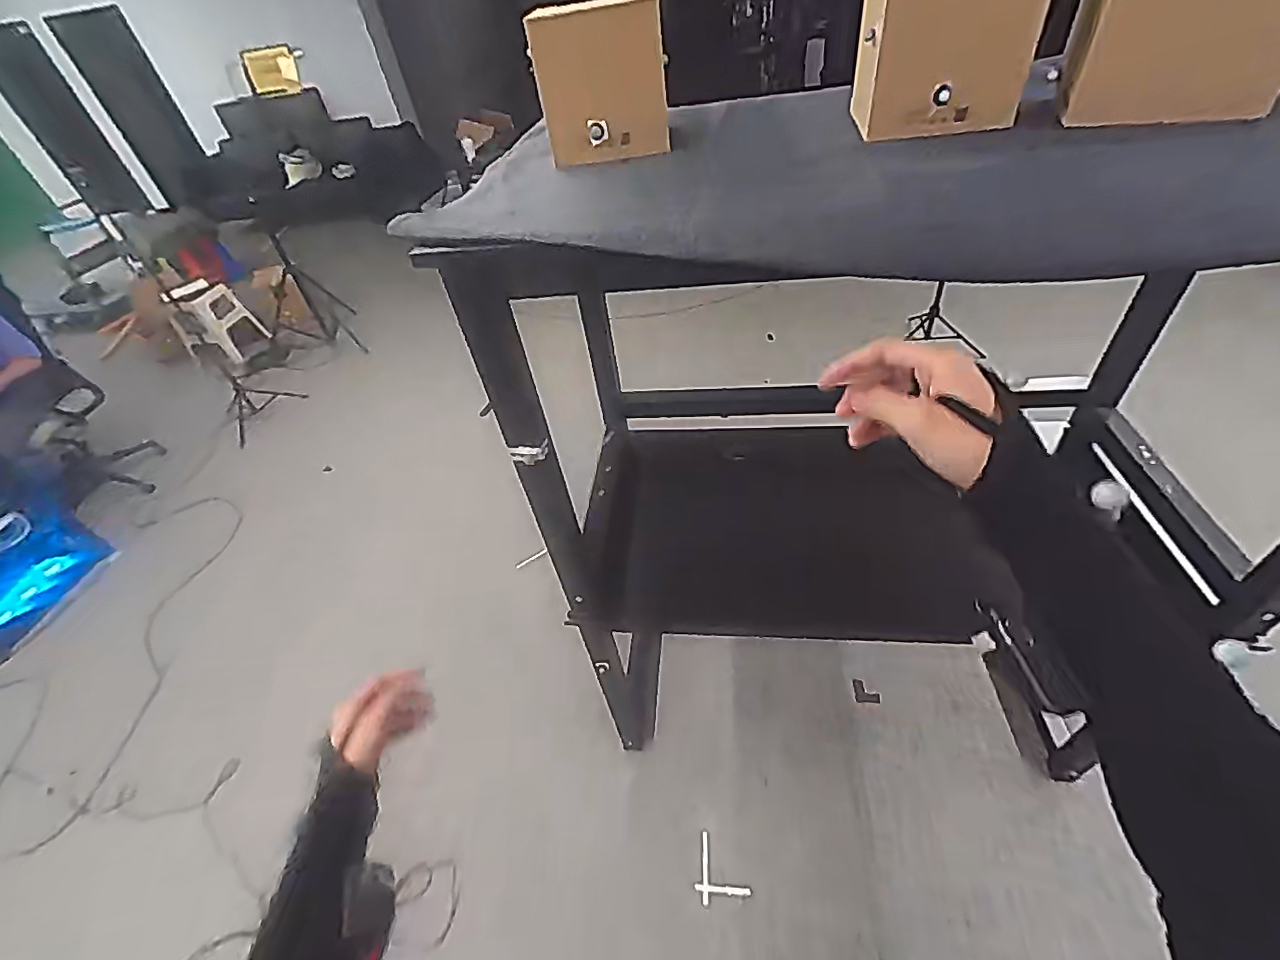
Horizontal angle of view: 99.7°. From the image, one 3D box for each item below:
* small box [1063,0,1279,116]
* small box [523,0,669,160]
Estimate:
[{"bbox_3d":[0.580,-0.501,0.570,0.179,0.176,0.168,12,47,20],"label":"small box"},{"bbox_3d":[-0.052,-0.563,0.750,0.168,0.176,0.179,-7,44,3],"label":"small box"}]
